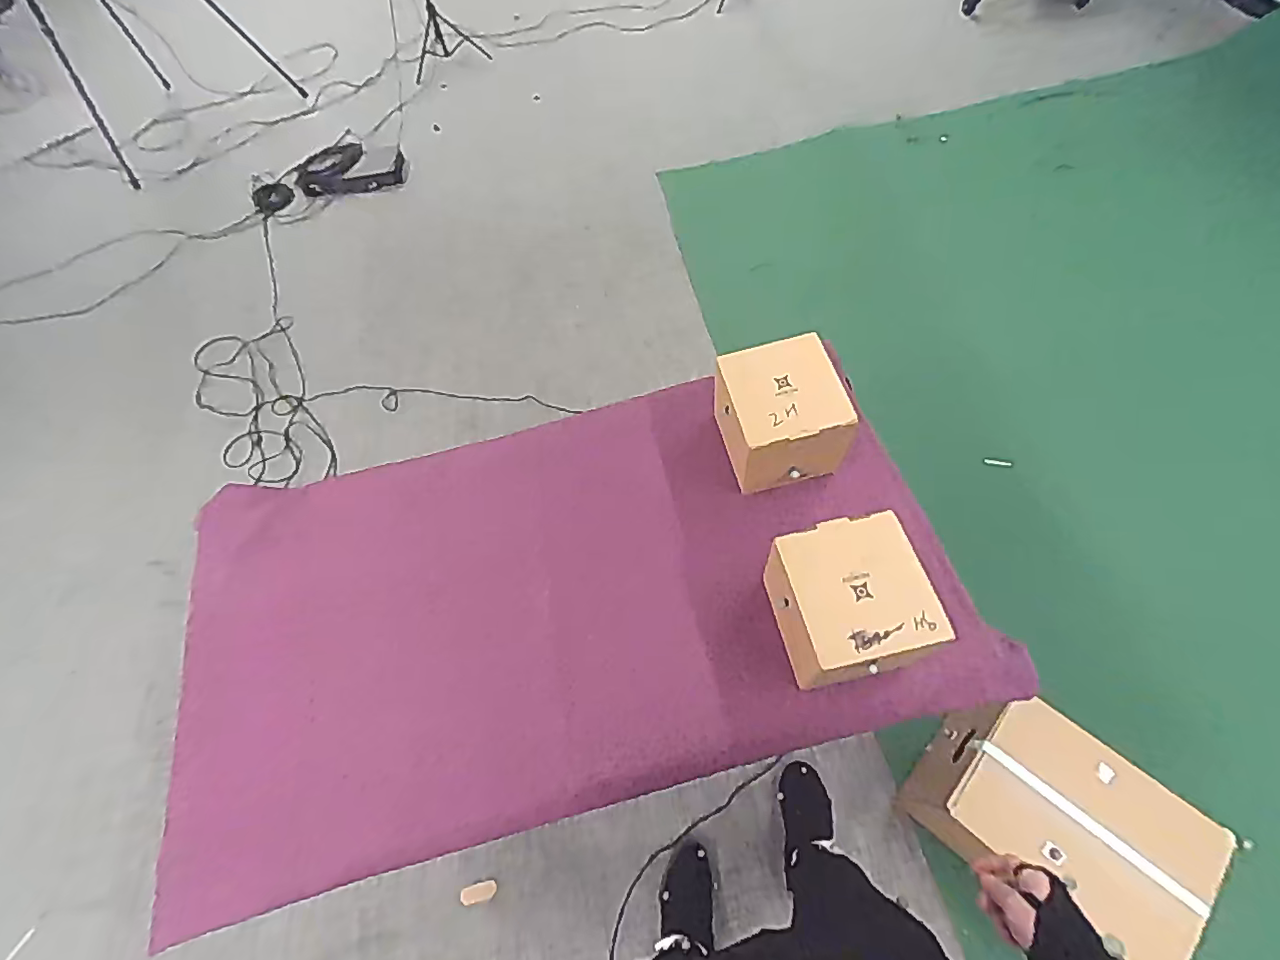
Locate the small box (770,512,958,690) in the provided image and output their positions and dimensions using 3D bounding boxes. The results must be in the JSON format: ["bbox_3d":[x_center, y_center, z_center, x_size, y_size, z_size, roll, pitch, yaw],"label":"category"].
[{"bbox_3d":[0.286,0.171,0.742,0.168,0.176,0.179,-14,59,0],"label":"small box"}]

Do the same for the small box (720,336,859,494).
[{"bbox_3d":[0.231,-0.102,0.890,0.168,0.176,0.179,-14,63,1],"label":"small box"}]
